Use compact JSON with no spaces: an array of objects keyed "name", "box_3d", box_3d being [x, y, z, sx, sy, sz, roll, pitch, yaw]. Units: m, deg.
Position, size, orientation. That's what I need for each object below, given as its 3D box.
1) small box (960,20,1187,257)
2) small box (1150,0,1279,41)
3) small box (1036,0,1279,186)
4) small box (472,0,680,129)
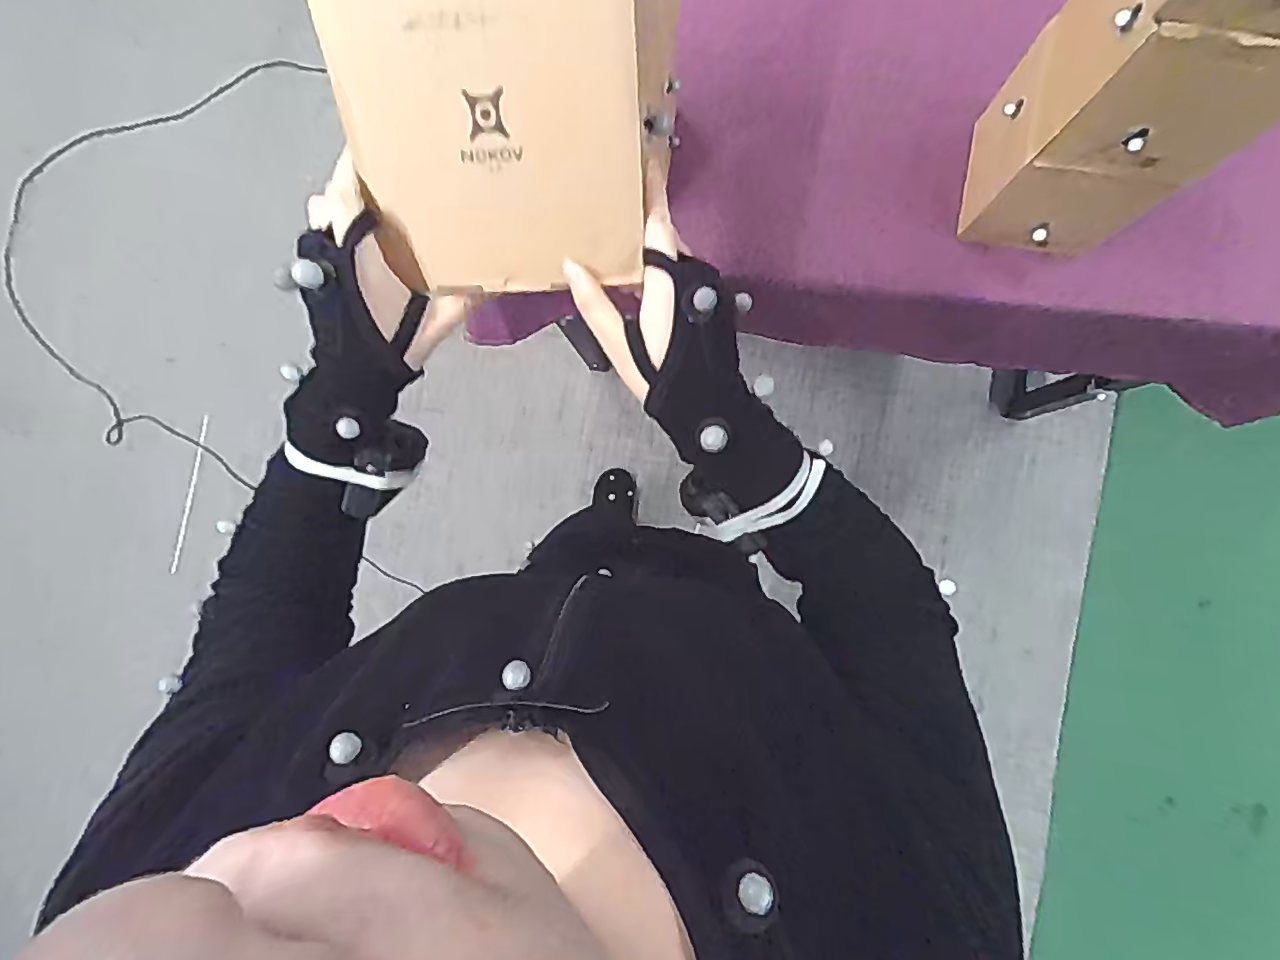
[{"name":"small box","box_3d":[0.528,-0.408,0.670,0.168,0.176,0.179,11,88,7]},{"name":"small box","box_3d":[0.499,-0.425,0.344,0.179,0.176,0.168,13,88,5]},{"name":"small box","box_3d":[0.516,-0.418,0.508,0.168,0.176,0.179,11,89,6]},{"name":"small box","box_3d":[-0.052,-0.501,0.564,0.179,0.176,0.168,6,87,5]}]
